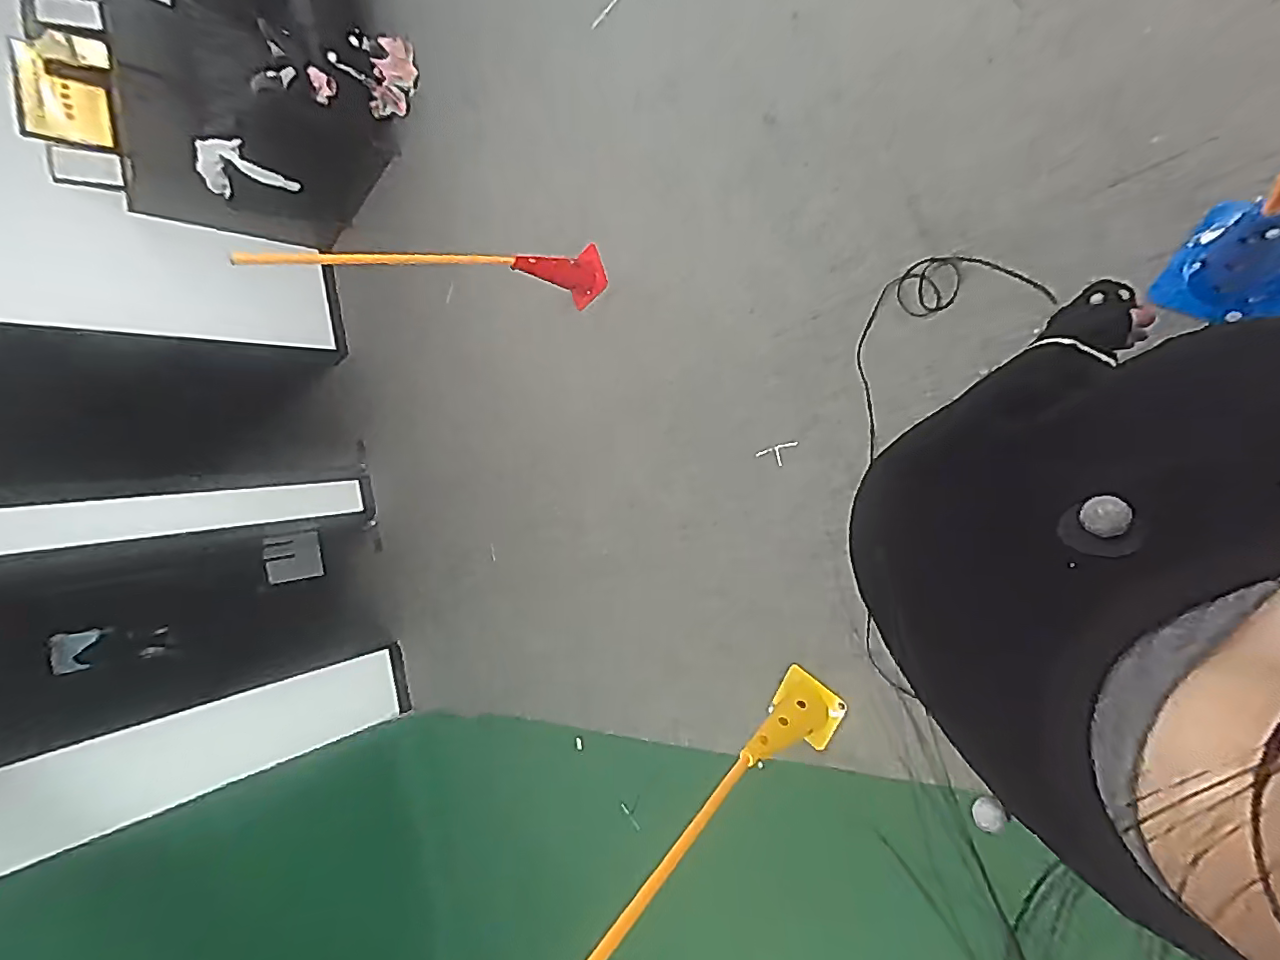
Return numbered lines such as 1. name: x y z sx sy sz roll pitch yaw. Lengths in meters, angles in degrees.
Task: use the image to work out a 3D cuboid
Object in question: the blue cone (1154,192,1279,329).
1. blue cone: 0.993 -0.387 0.876 0.192 0.380 0.193 40 117 33
